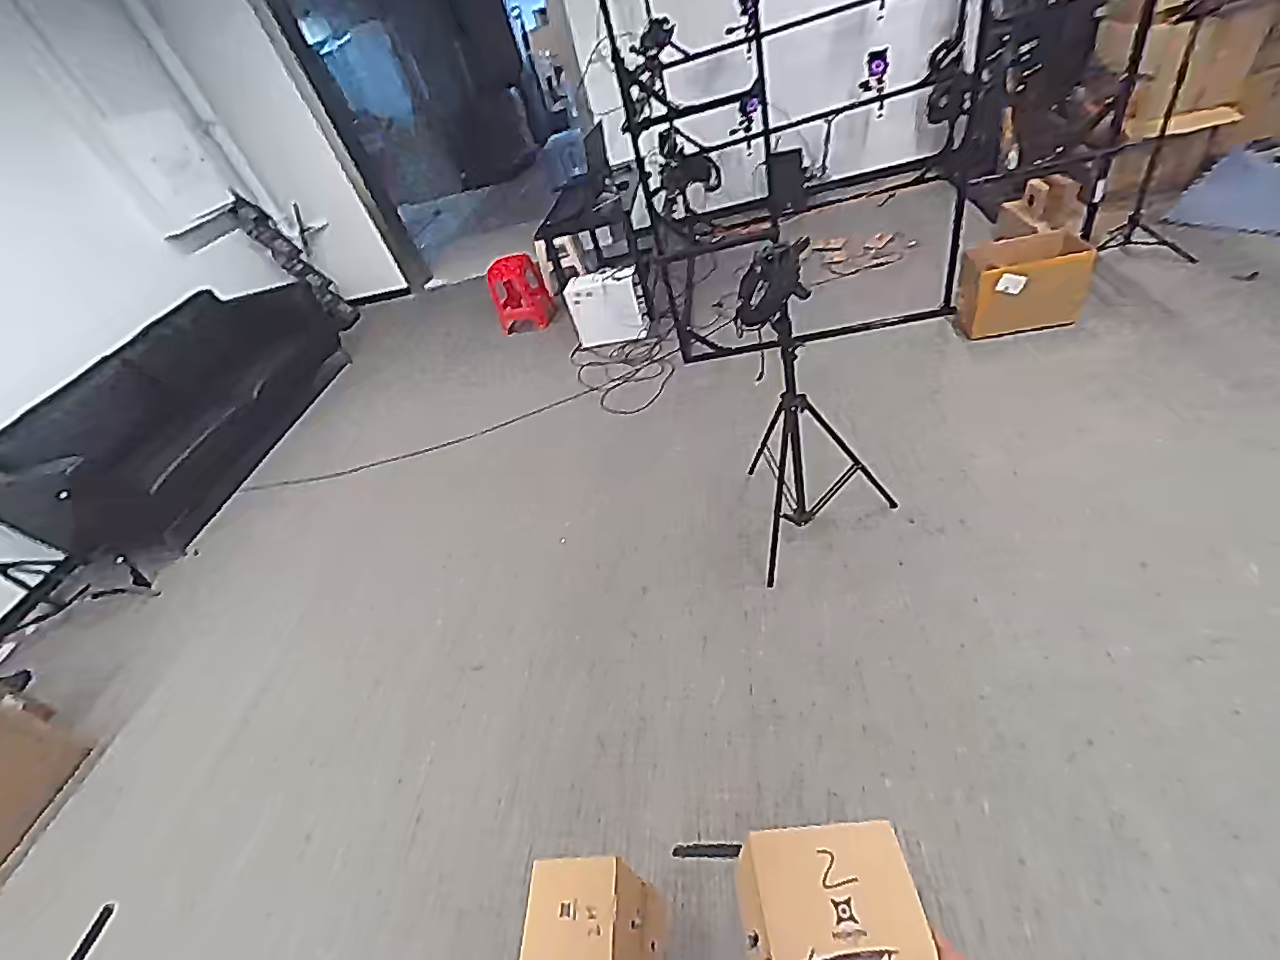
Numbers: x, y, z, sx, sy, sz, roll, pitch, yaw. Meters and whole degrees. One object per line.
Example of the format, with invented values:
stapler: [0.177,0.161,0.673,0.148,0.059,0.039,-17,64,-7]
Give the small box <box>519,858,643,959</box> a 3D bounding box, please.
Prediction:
small box: [-0.103,0.838,1.022,0.179,0.176,0.168,-11,40,12]

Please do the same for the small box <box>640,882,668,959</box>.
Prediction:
small box: [-0.045,0.954,1.123,0.168,0.176,0.179,-6,42,17]

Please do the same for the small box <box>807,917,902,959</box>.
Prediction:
small box: [0.445,1.022,1.106,0.179,0.176,0.168,-6,42,14]
